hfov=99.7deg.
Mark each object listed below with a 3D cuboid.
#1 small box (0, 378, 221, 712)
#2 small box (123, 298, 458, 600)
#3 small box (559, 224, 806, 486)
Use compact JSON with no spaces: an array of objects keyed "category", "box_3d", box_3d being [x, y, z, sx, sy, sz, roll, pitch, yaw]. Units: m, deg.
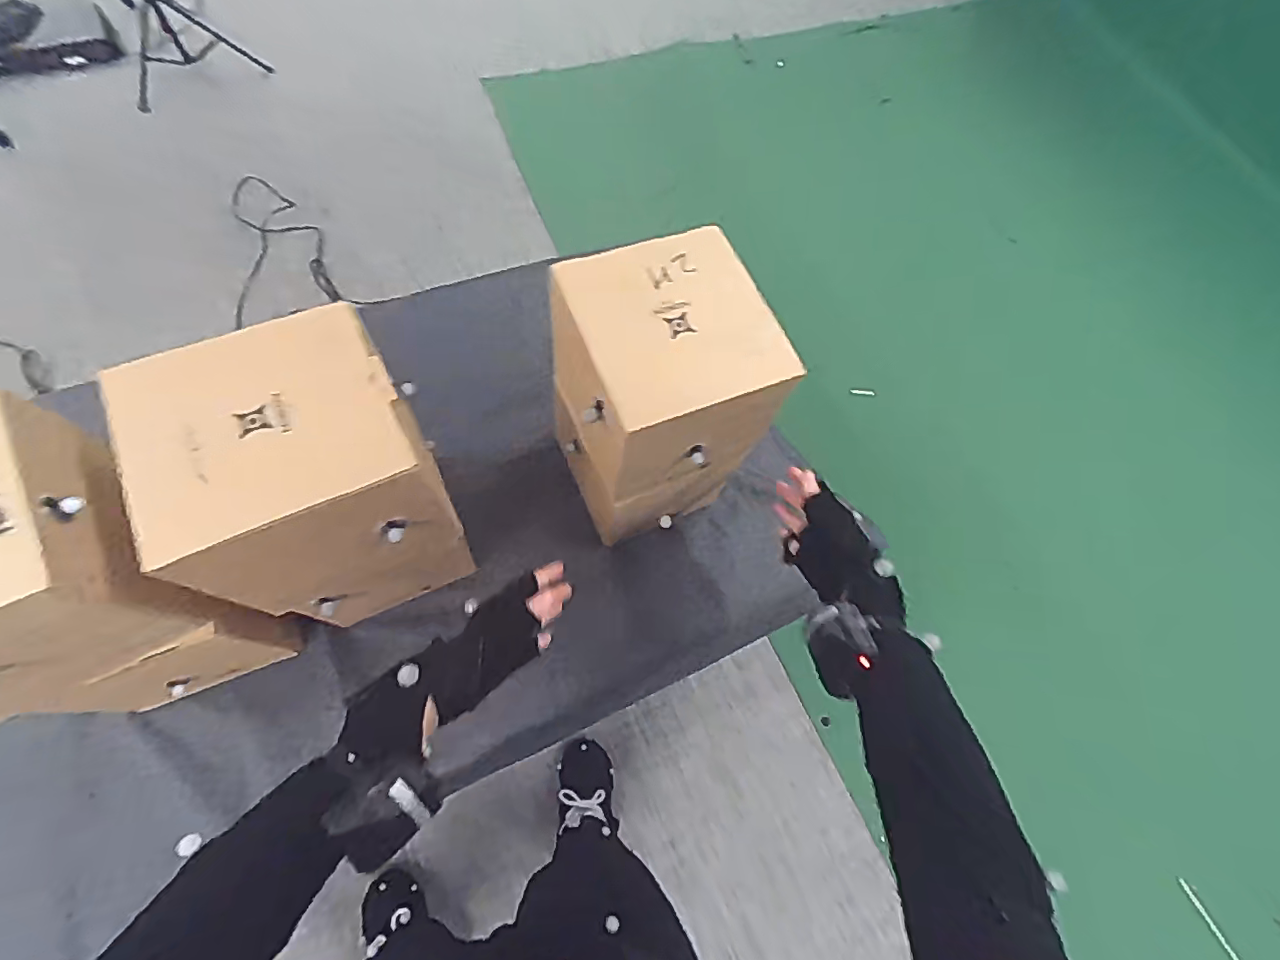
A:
[{"category":"small box","box_3d":[-0.476,0.061,0.407,0.179,0.176,0.168,-28,75,-16]},{"category":"small box","box_3d":[-0.271,-0.017,0.464,0.179,0.176,0.168,-24,72,-15]},{"category":"small box","box_3d":[0.028,-0.110,0.537,0.168,0.176,0.179,-20,71,-14]}]
